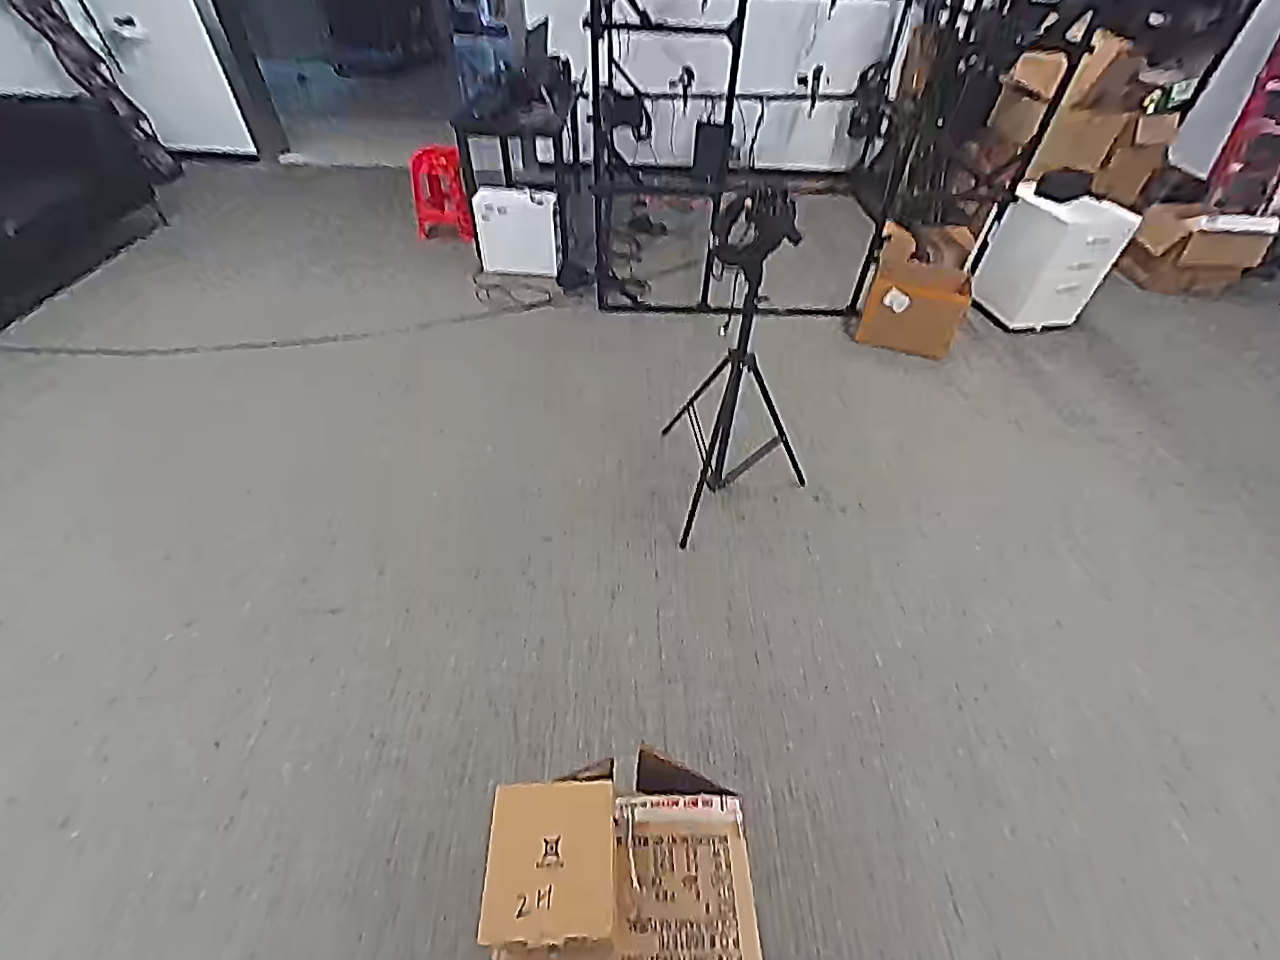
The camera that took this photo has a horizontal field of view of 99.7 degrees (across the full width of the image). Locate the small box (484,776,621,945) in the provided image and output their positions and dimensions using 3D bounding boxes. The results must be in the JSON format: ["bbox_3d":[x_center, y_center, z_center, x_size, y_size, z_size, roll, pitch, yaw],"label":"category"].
[{"bbox_3d":[-0.113,0.545,0.774,0.168,0.176,0.179,-2,48,-1],"label":"small box"}]
